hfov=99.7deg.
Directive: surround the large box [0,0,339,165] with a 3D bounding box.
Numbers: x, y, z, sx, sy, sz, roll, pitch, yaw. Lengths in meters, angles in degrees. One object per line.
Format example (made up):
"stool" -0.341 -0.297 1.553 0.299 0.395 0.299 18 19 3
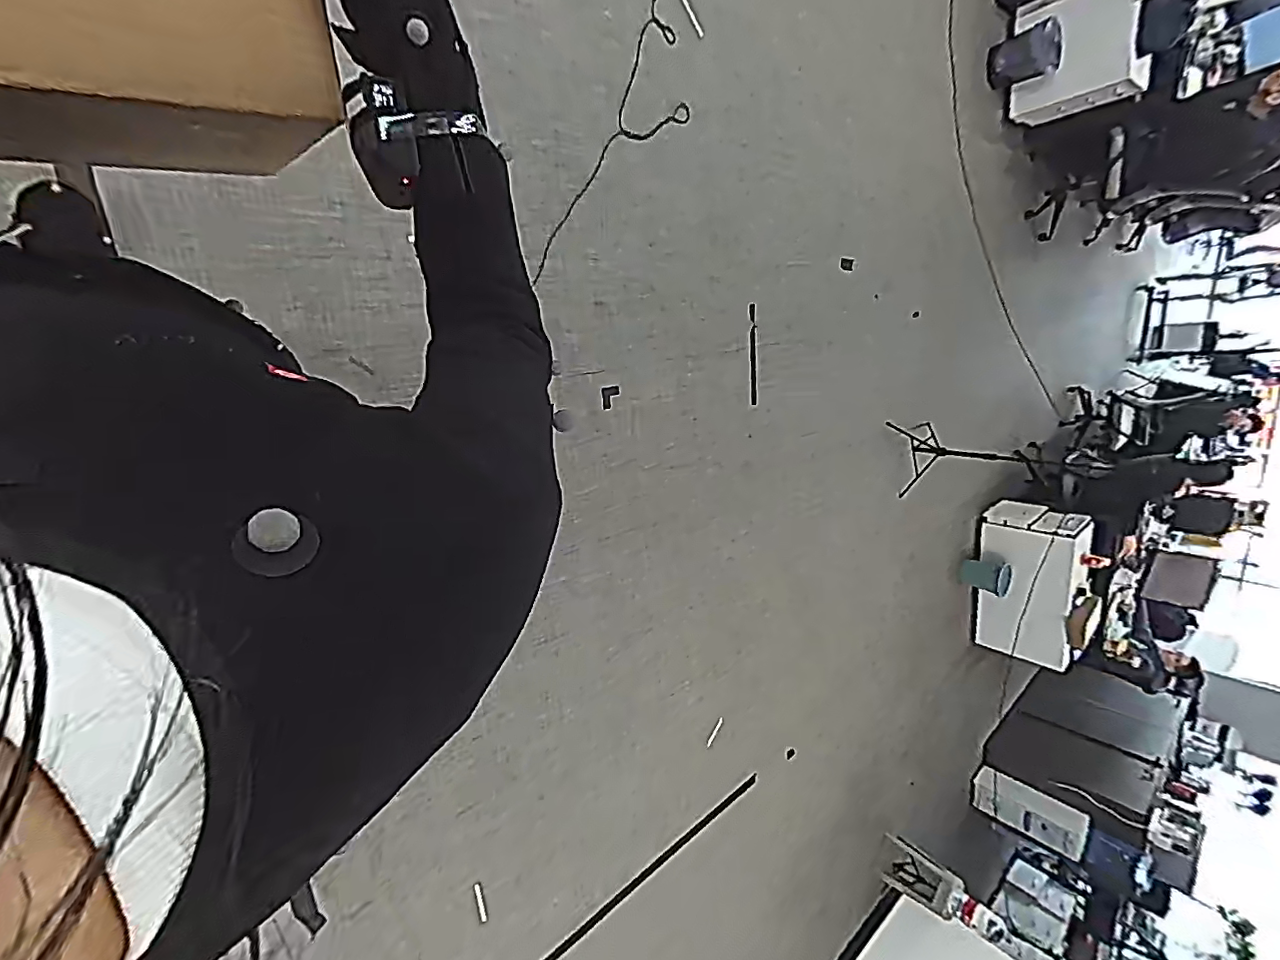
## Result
"large box" -0.453 -0.373 0.293 0.408 0.320 0.320 -20 121 -36
